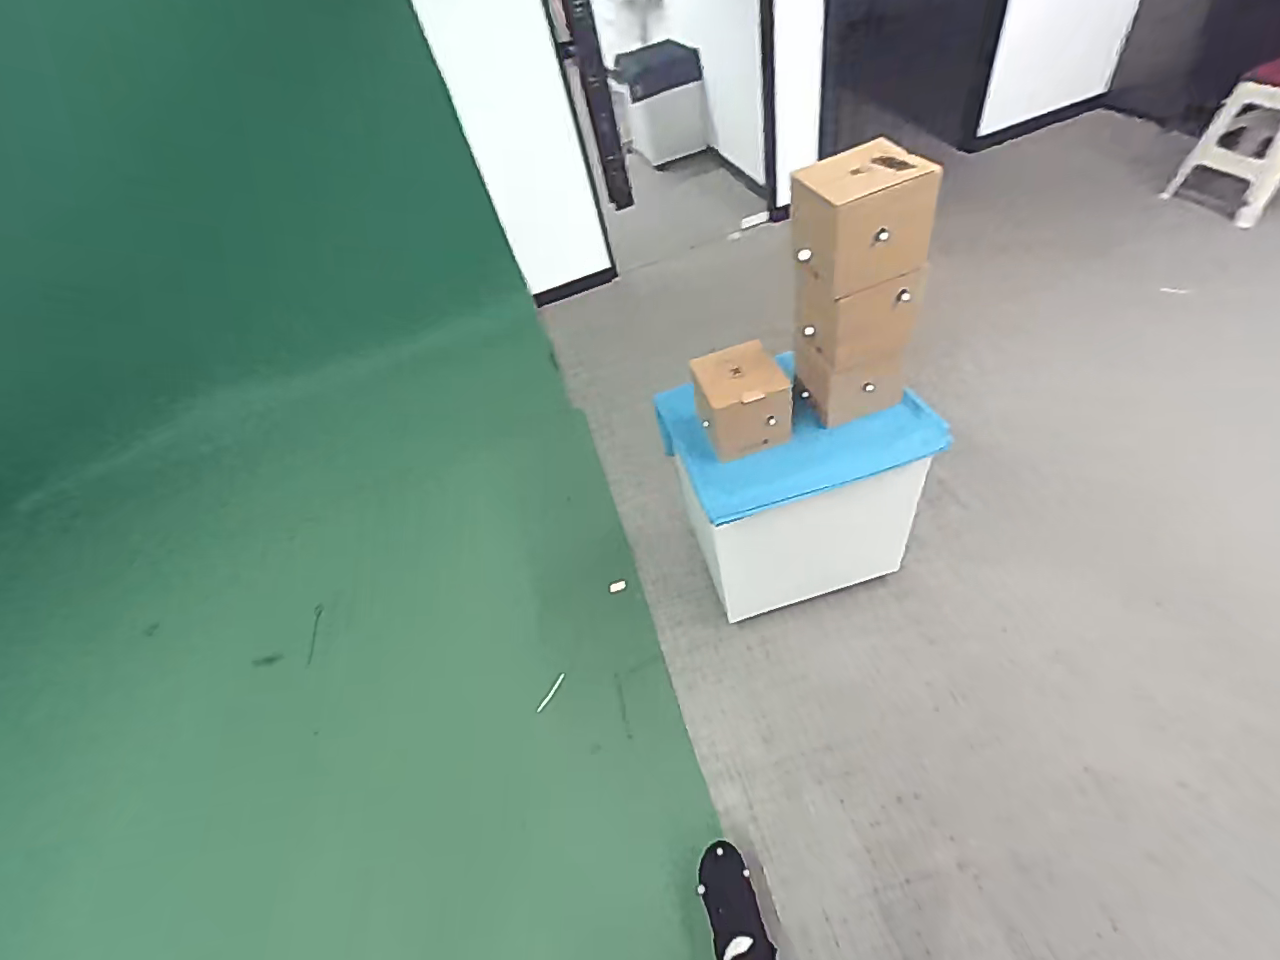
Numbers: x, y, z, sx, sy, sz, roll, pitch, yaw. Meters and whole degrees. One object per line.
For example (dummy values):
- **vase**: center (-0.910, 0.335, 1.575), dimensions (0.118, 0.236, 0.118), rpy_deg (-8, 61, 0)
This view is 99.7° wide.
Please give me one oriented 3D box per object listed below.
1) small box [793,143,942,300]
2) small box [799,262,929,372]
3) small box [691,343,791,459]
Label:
- **small box**: center (0.379, -0.444, 0.936), dimensions (0.179, 0.176, 0.168), rpy_deg (-20, 47, -1)
- **small box**: center (0.423, -0.343, 1.058), dimensions (0.179, 0.176, 0.168), rpy_deg (-21, 47, -2)
- **small box**: center (0.221, -0.166, 1.184), dimensions (0.168, 0.176, 0.179), rpy_deg (-17, 47, -1)
